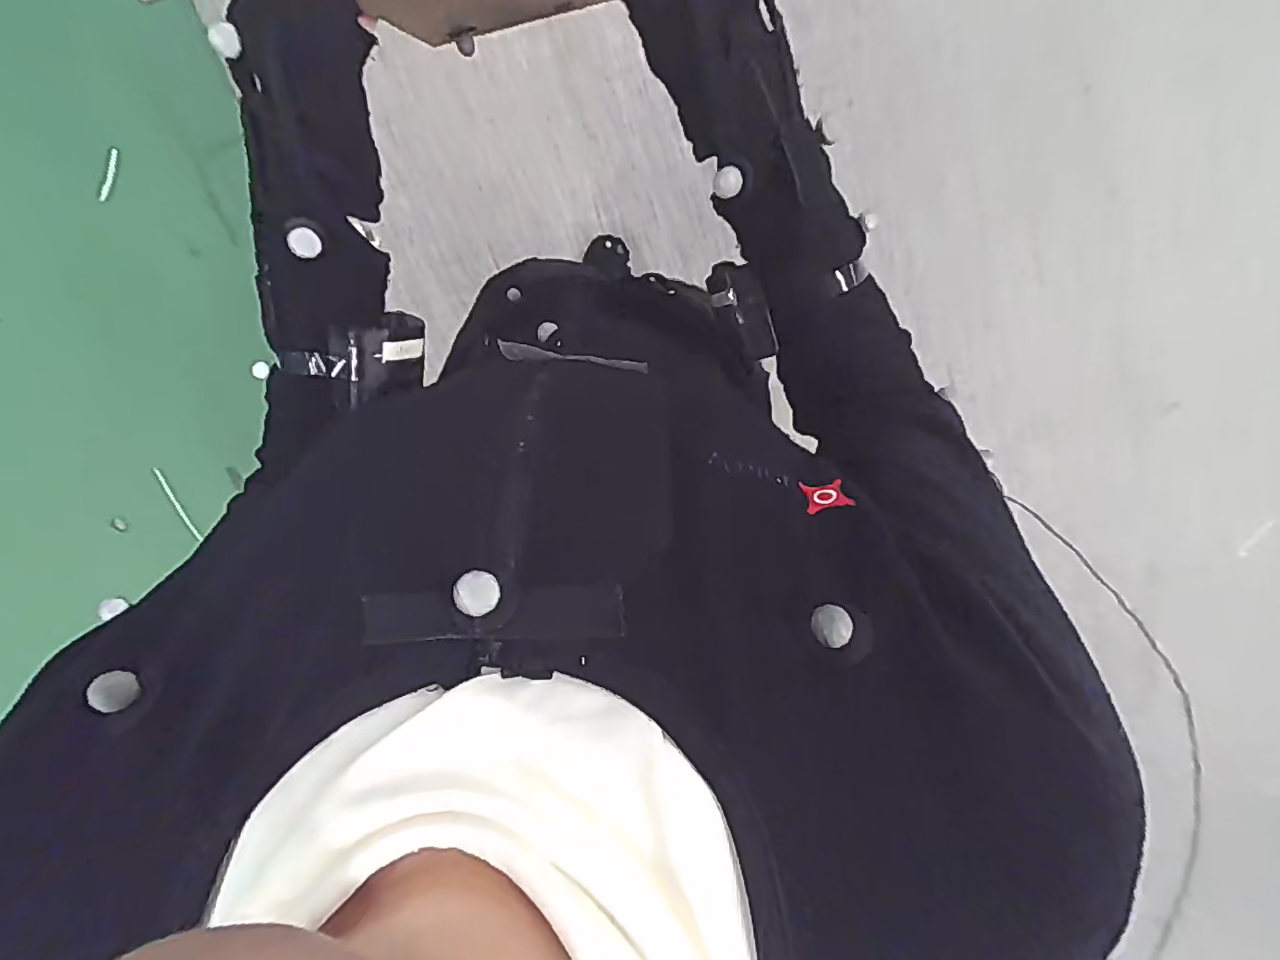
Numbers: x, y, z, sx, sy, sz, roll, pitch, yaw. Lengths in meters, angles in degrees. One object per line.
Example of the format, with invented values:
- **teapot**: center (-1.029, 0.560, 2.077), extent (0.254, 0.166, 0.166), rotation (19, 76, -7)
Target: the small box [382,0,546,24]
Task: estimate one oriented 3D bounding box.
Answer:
- **small box**: center (-0.089, -0.365, 0.272), extent (0.168, 0.176, 0.179), rotation (-10, 119, 6)
